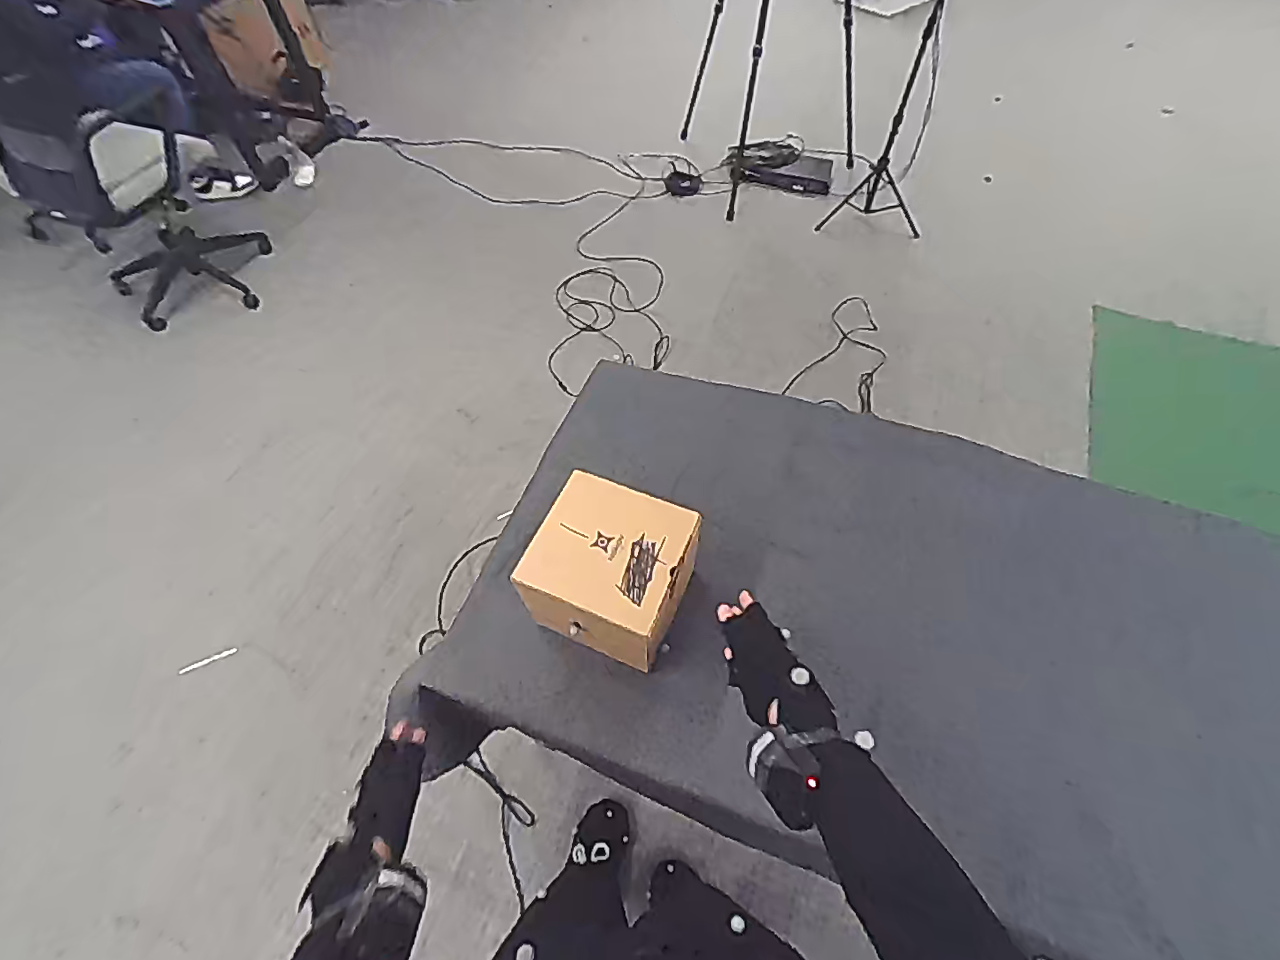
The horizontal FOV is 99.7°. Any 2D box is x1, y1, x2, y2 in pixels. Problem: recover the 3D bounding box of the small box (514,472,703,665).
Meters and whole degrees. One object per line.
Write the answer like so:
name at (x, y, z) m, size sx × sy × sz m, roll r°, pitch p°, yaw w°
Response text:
small box at (-0.033, 0.122, 0.705) m, size 0.179 × 0.176 × 0.168 m, roll 20°, pitch 60°, yaw 14°
